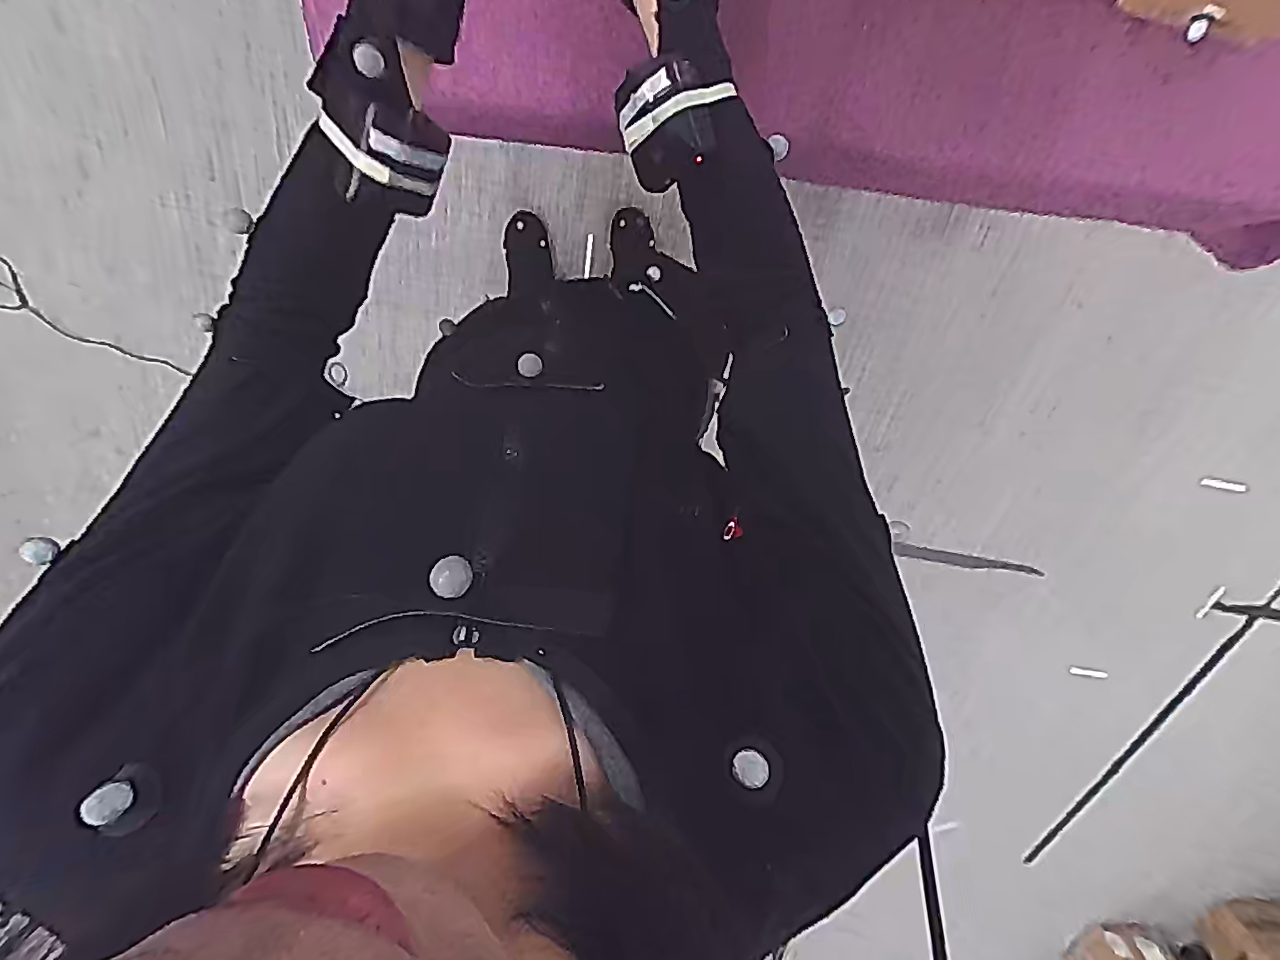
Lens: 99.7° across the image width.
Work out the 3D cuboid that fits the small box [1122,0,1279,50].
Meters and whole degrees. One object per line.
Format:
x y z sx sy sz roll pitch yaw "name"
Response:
0.578 -0.504 0.455 0.168 0.176 0.179 9 117 -4 "small box"
